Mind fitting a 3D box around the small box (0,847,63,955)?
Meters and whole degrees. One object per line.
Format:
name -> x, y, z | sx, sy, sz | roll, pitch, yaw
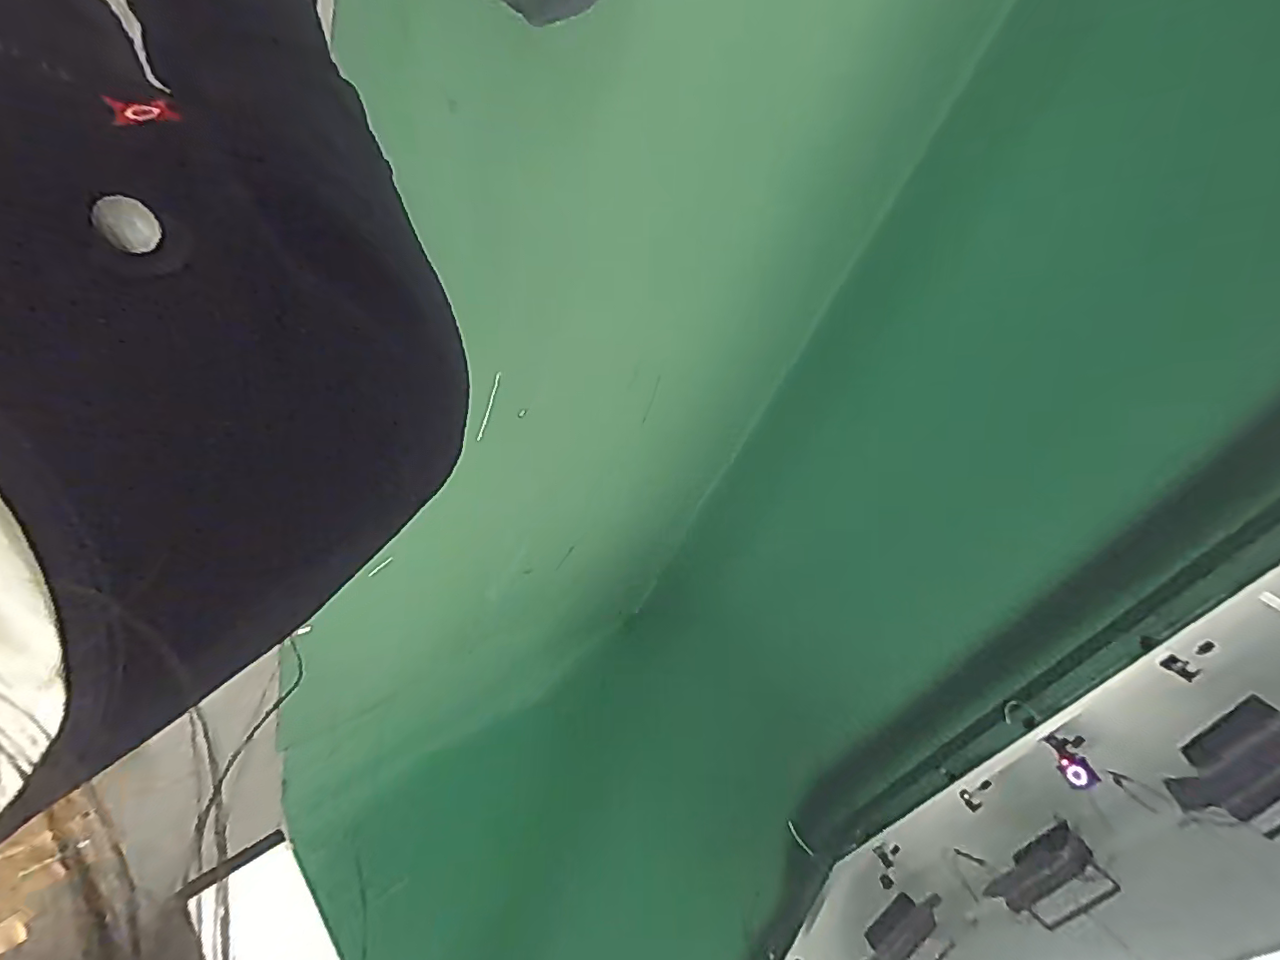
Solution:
small box -> -1.707, 1.146, 1.465 | 0.168, 0.176, 0.179 | -12, 137, -50
